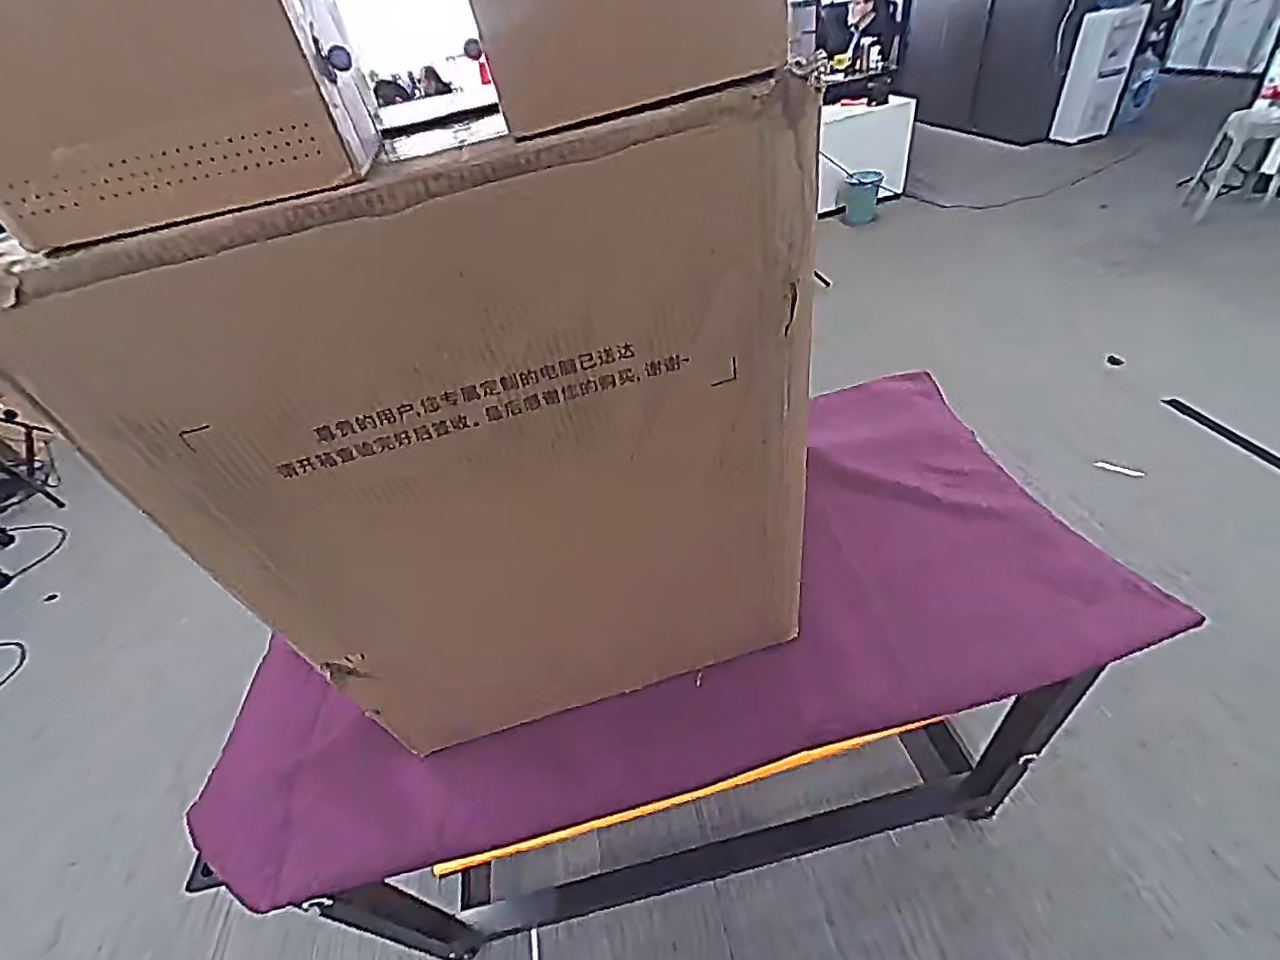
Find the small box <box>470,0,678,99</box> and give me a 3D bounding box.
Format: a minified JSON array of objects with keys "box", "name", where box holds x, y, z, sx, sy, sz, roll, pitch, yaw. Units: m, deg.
[{"box":[-0.071,-0.457,0.480,0.168,0.176,0.179,-15,41,-1],"name":"small box"}]
